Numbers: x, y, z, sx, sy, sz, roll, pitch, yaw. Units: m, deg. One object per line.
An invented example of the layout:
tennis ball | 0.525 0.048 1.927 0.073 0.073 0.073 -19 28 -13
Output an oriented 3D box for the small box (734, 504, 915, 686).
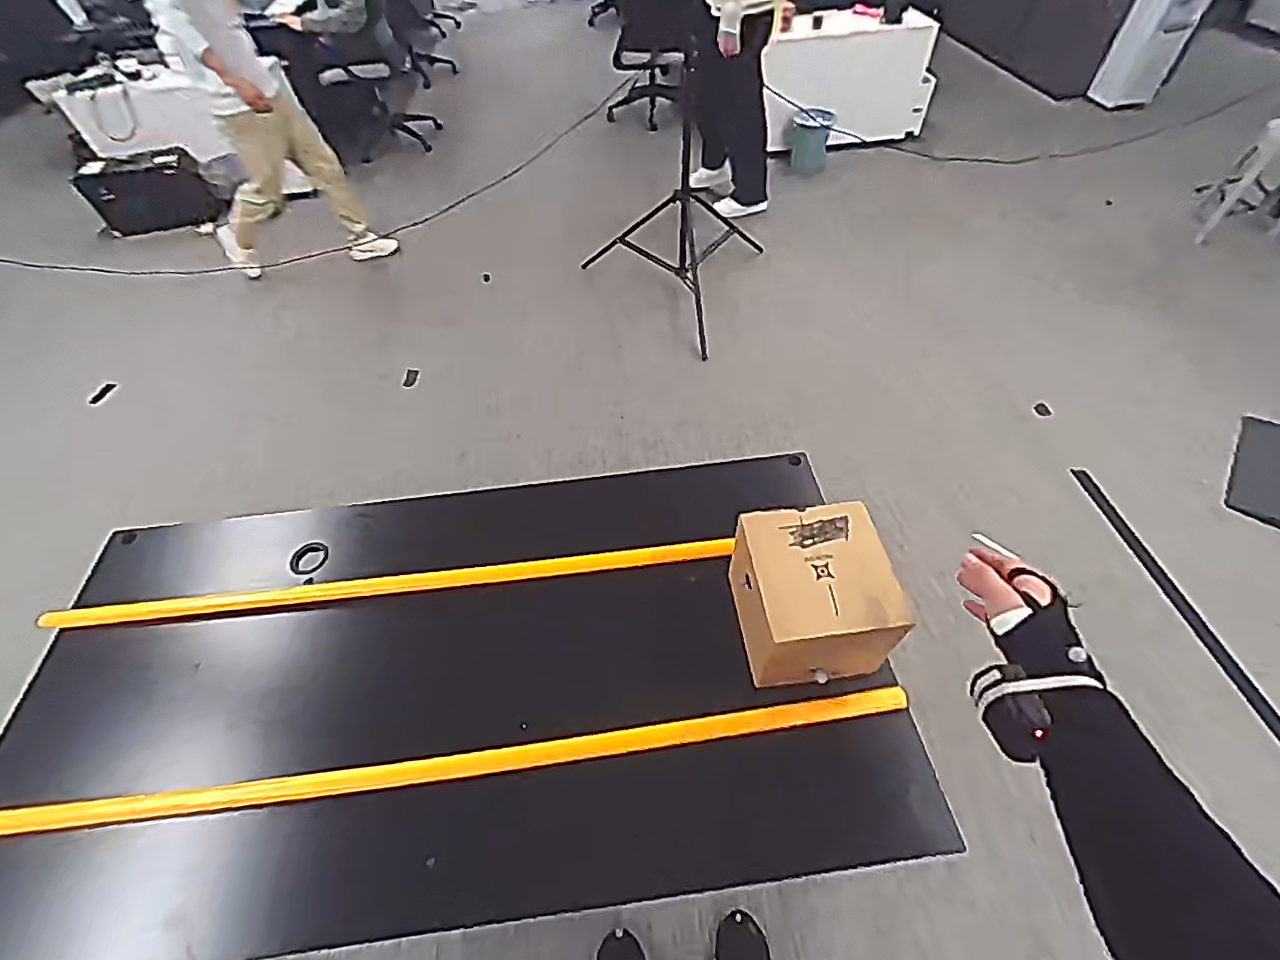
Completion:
small box | 0.226 0.155 0.723 0.168 0.176 0.179 -6 53 -1
